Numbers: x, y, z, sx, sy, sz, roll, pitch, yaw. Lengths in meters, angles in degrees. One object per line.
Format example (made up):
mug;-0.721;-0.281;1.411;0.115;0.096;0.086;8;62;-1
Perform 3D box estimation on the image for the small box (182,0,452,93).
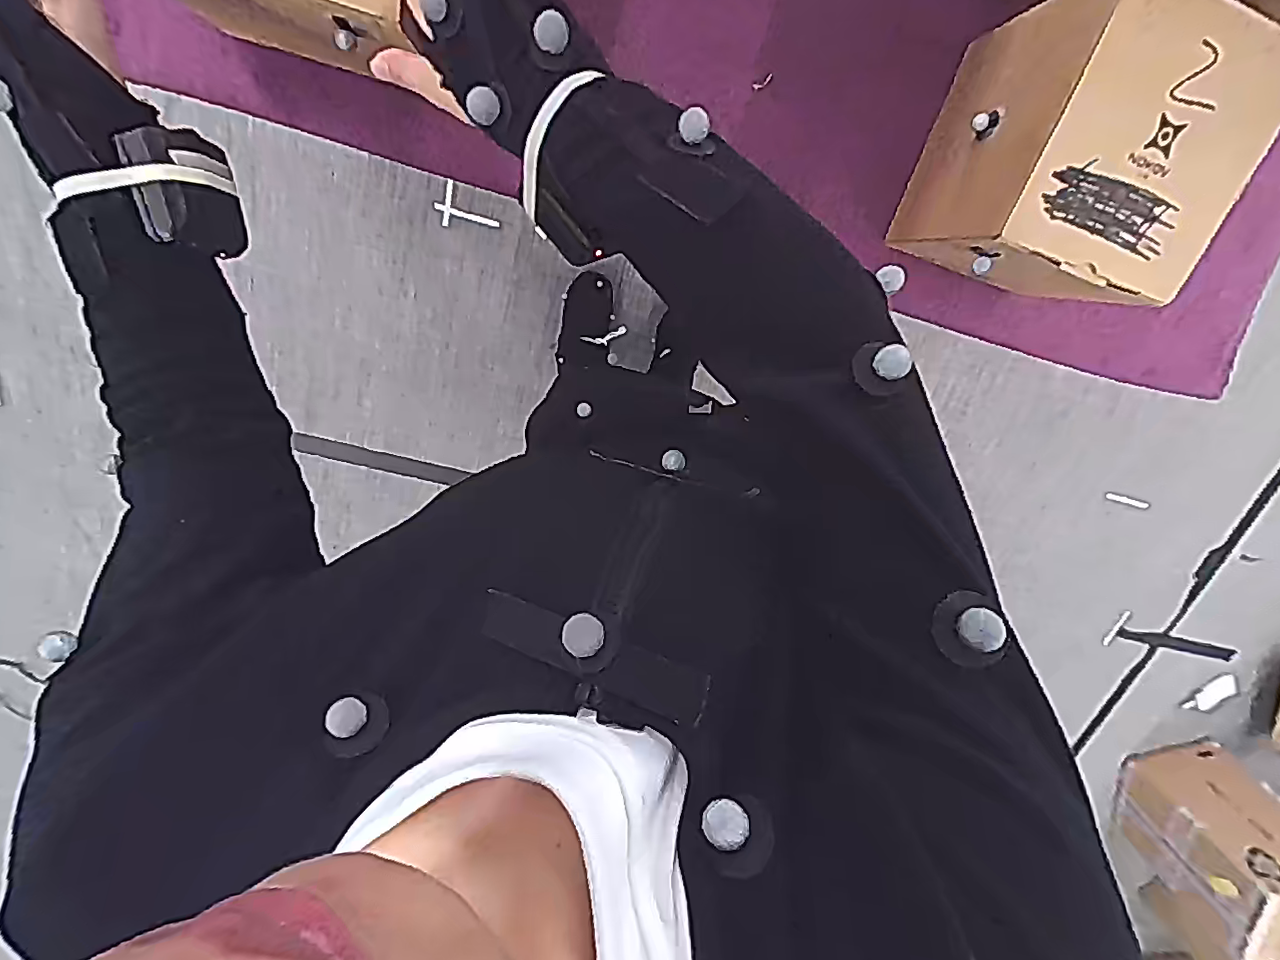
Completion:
small box;-0.223;-0.385;0.349;0.179;0.176;0.168;9;110;-14
